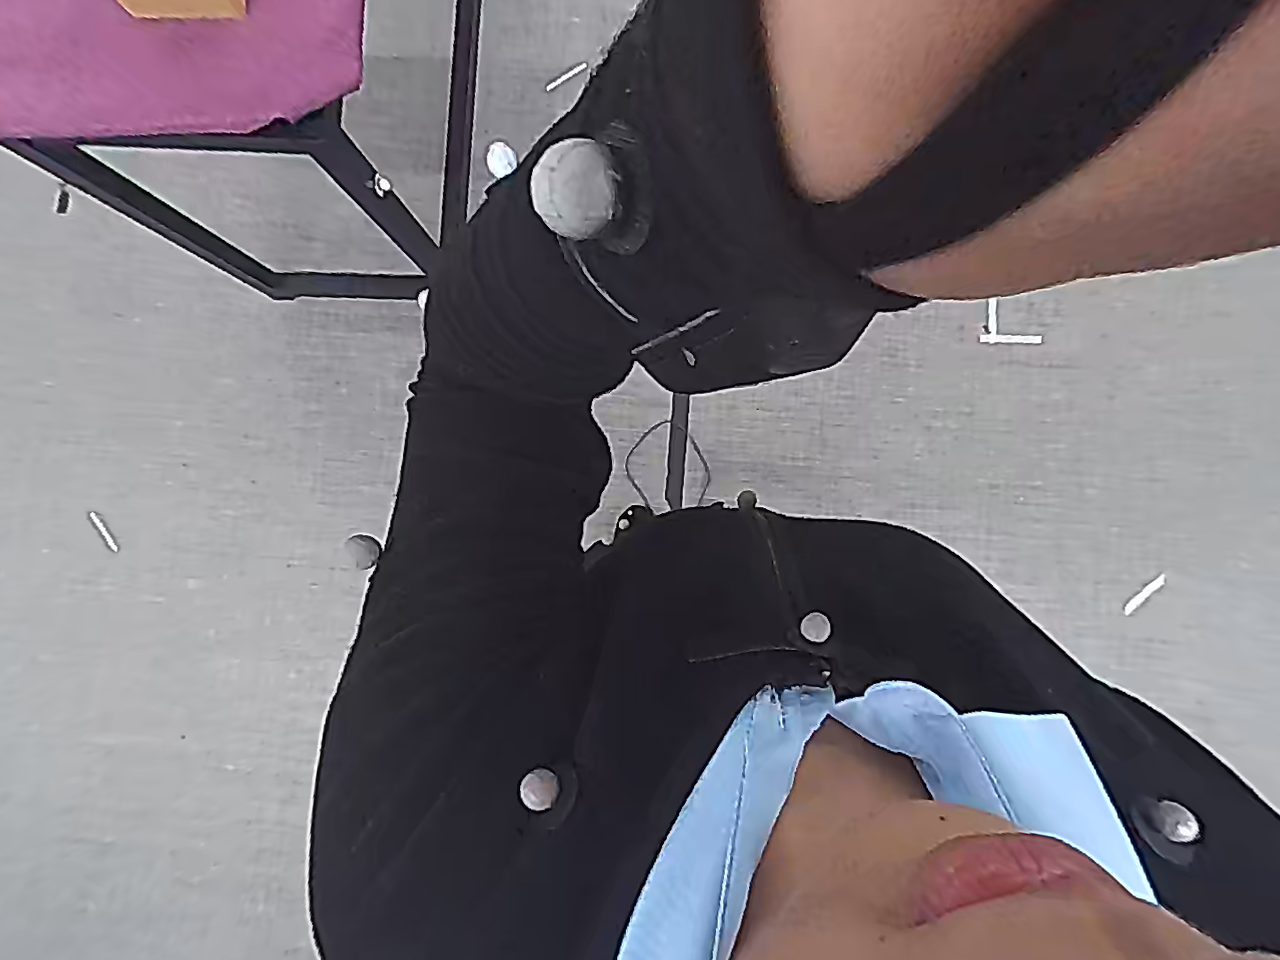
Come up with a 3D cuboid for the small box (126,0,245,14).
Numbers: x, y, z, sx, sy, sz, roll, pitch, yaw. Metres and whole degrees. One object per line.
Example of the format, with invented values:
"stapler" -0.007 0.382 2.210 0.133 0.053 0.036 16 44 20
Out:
"small box" -0.688 -0.797 0.750 0.179 0.176 0.168 1 86 1
